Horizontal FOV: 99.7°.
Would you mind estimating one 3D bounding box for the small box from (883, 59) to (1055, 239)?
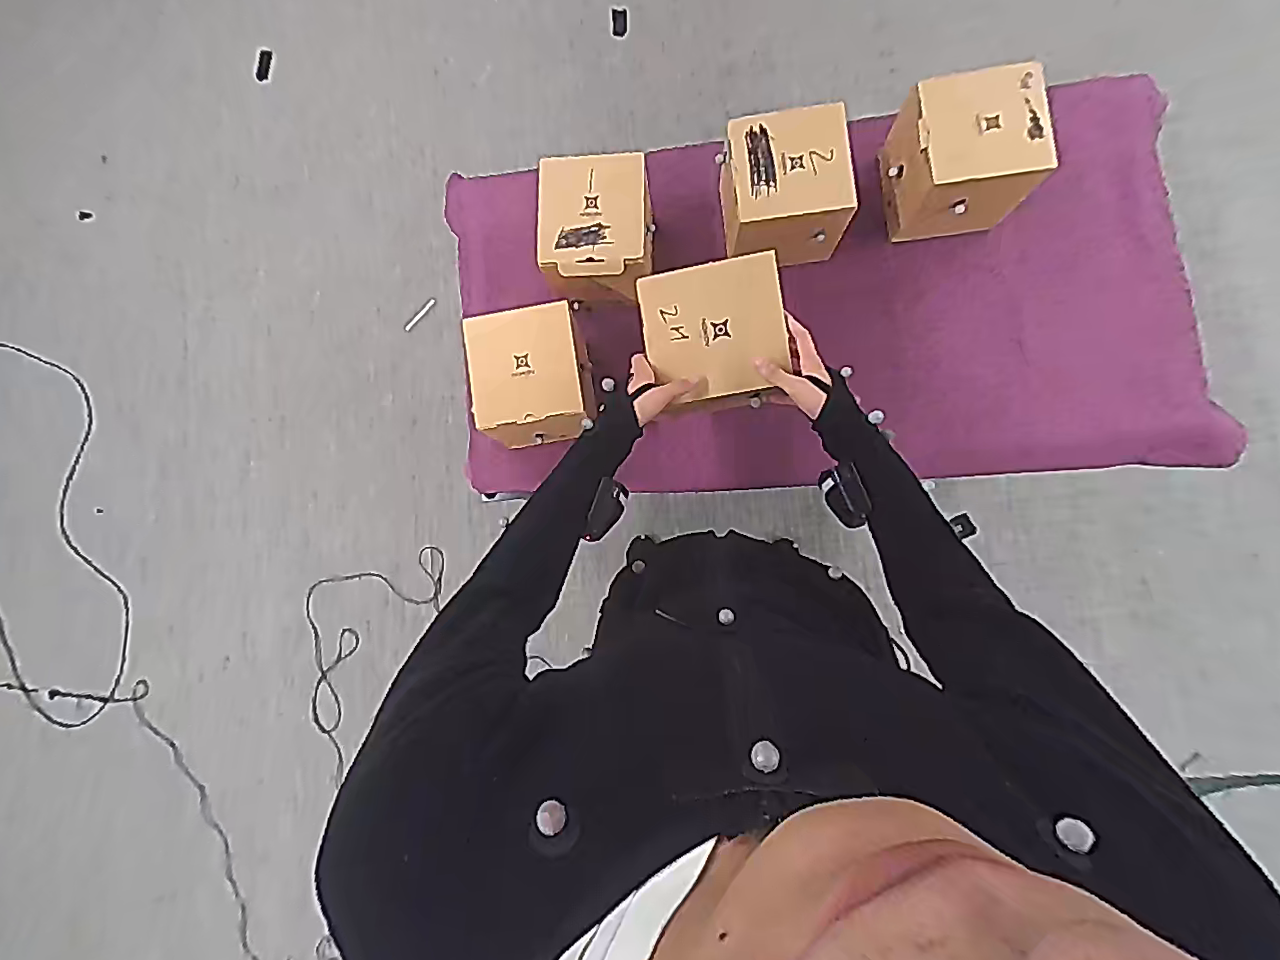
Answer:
[{"bbox_3d":[0.499,-0.504,0.851,0.179,0.176,0.168,-6,86,6],"label":"small box"}]

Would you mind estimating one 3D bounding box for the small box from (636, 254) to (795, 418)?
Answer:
[{"bbox_3d":[0.101,-0.182,0.739,0.179,0.176,0.168,-9,90,9],"label":"small box"}]

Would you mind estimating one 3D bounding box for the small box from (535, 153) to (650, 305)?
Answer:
[{"bbox_3d":[-0.070,-0.401,0.896,0.168,0.176,0.179,0,85,5],"label":"small box"}]

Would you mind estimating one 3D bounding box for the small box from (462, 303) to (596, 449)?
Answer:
[{"bbox_3d":[-0.172,-0.160,0.880,0.168,0.176,0.179,-10,84,2],"label":"small box"}]
